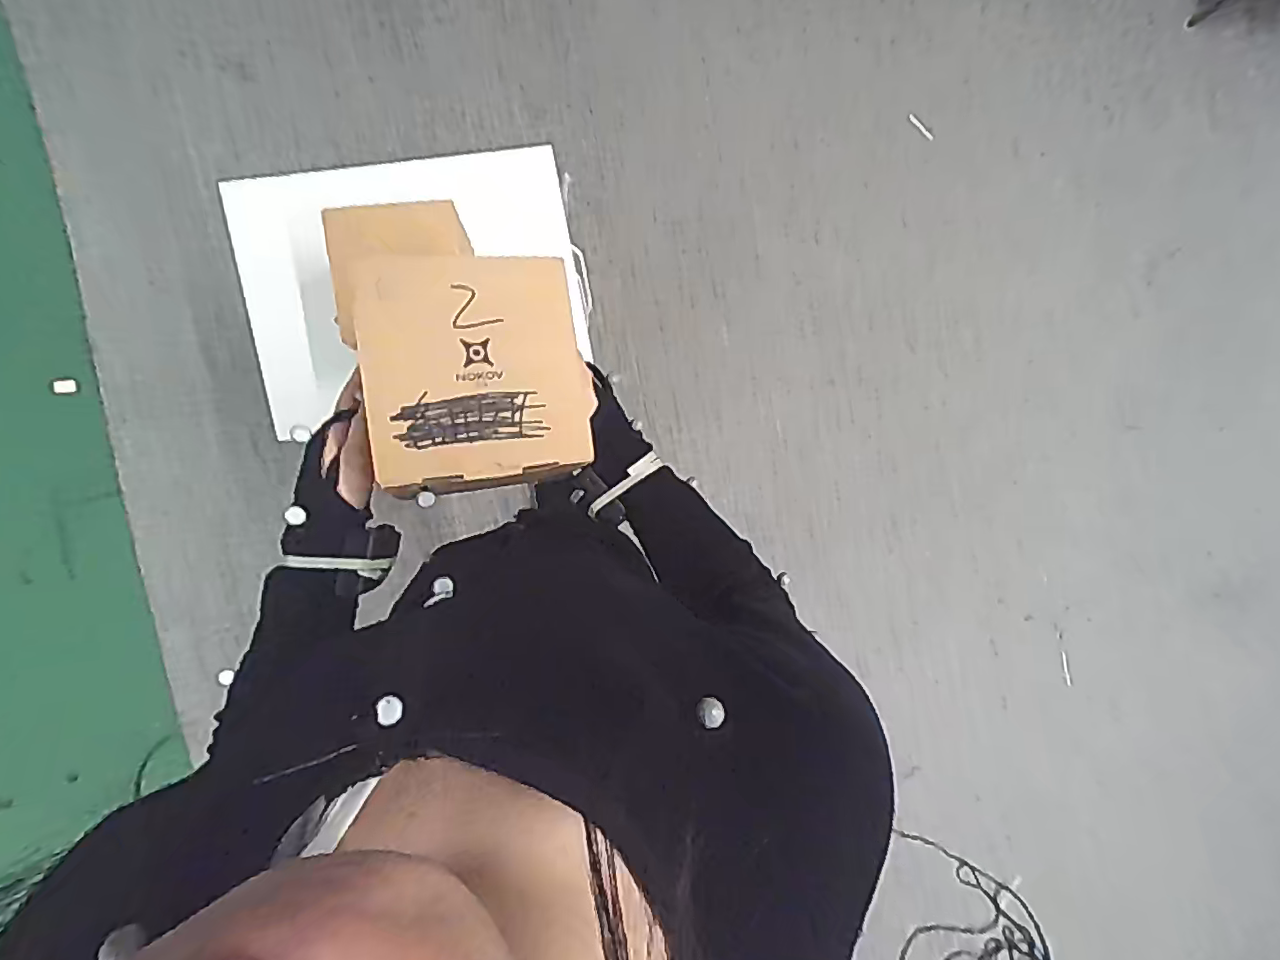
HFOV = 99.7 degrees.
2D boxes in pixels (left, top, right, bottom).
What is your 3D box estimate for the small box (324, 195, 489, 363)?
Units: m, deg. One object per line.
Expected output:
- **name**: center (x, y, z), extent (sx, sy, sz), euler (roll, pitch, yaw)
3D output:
- **small box**: center (-0.320, -0.276, 0.774), extent (0.168, 0.176, 0.179), euler (-9, 93, -8)
